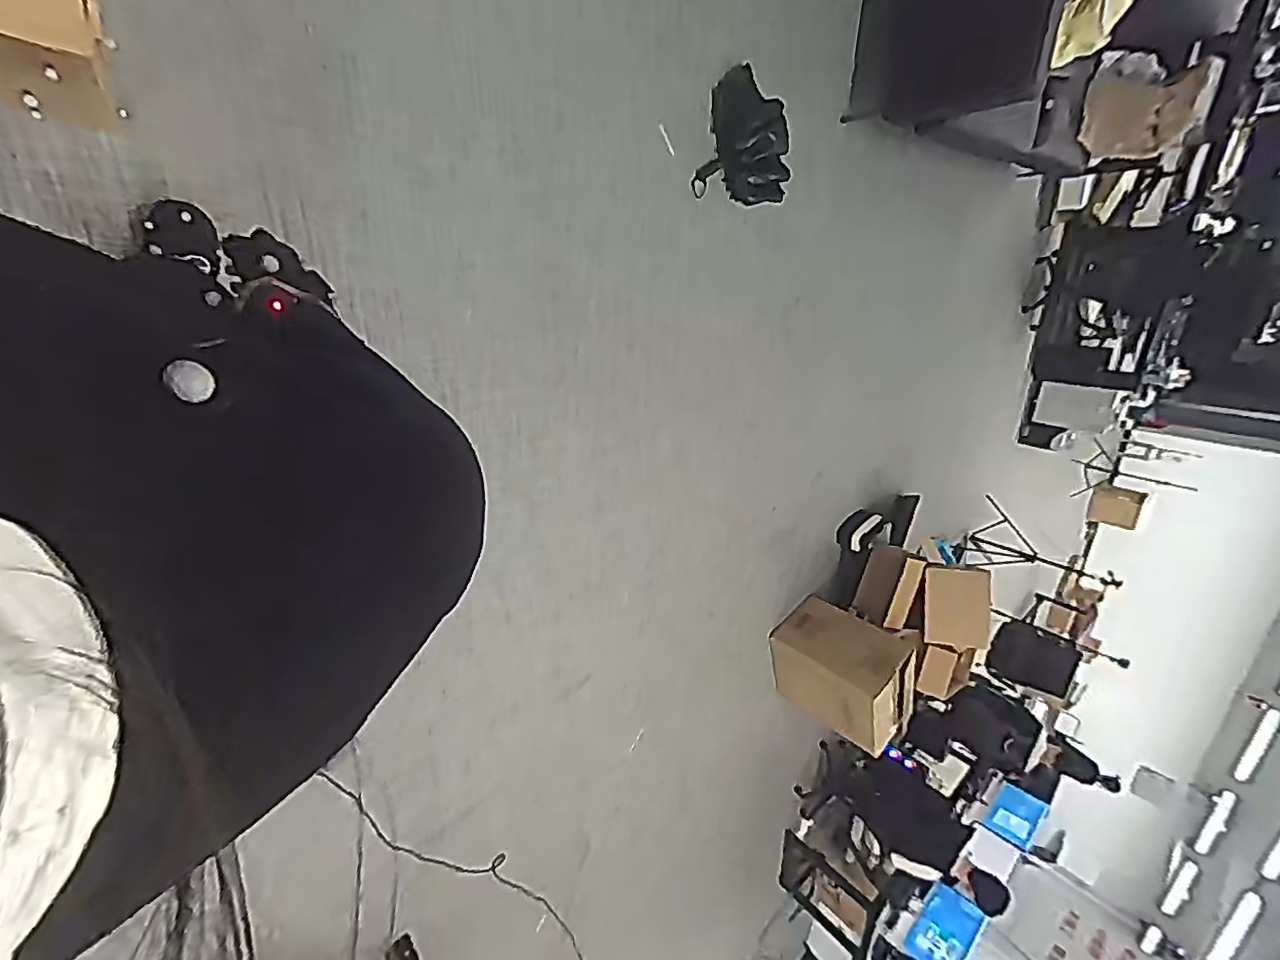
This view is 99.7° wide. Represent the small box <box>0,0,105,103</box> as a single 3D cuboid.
[{"bbox_3d":[-0.833,-0.615,0.702,0.179,0.176,0.168,-12,115,-38],"label":"small box"}]

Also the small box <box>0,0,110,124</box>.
[{"bbox_3d":[-0.935,-0.662,0.817,0.179,0.176,0.168,-9,112,-39],"label":"small box"}]

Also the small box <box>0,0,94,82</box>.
[{"bbox_3d":[-0.728,-0.565,0.585,0.179,0.176,0.168,-9,111,-39],"label":"small box"}]
